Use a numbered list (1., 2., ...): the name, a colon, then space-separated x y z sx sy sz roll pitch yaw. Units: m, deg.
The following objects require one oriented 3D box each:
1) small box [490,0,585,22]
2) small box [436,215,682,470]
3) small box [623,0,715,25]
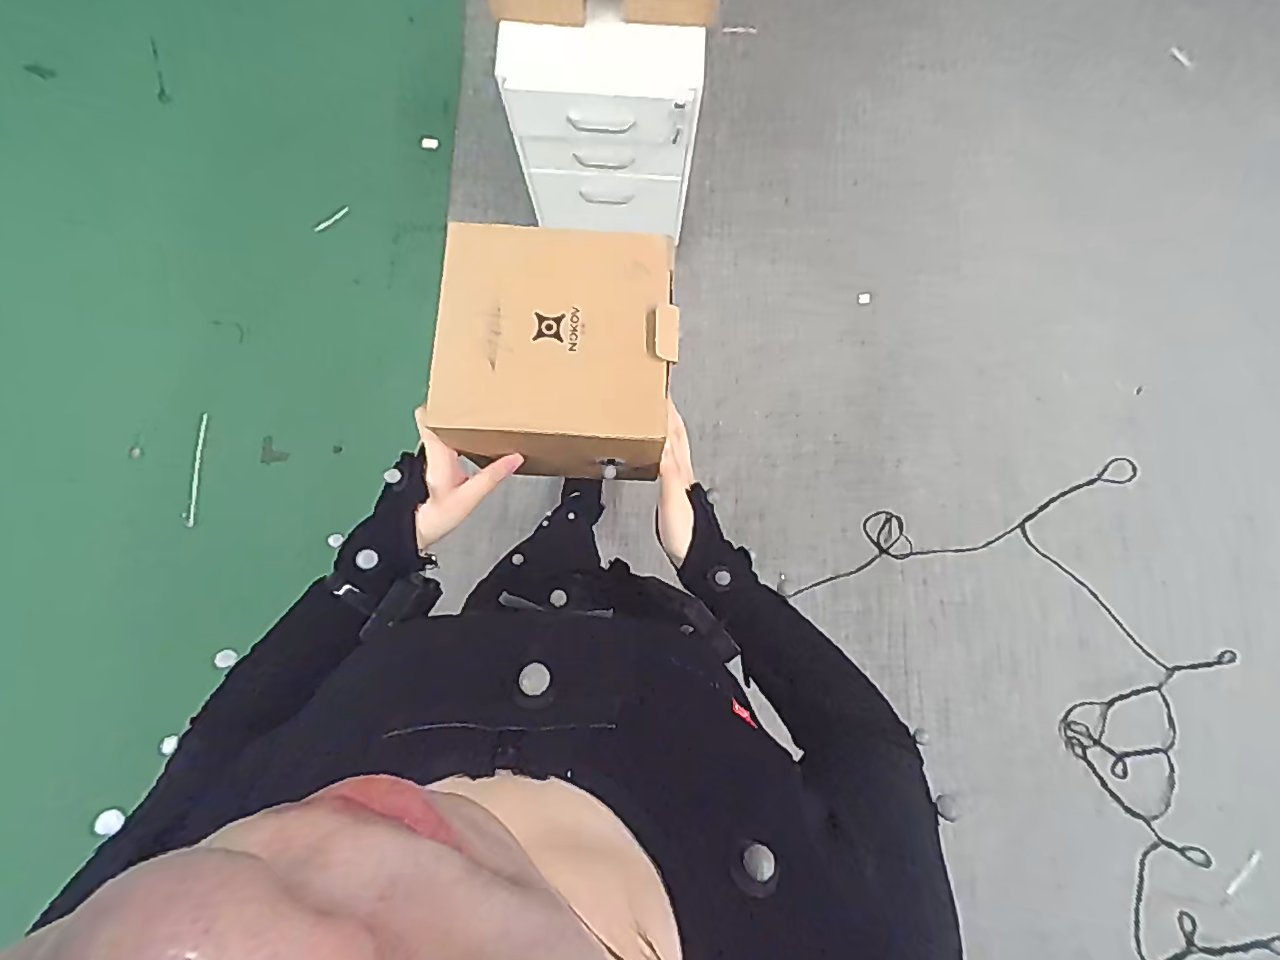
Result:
1. small box: -0.189 -0.966 0.961 0.179 0.176 0.168 4 84 -2
2. small box: -0.060 -0.107 0.487 0.179 0.176 0.168 3 79 -1
3. small box: 0.059 -0.966 0.968 0.179 0.176 0.168 3 83 -1
